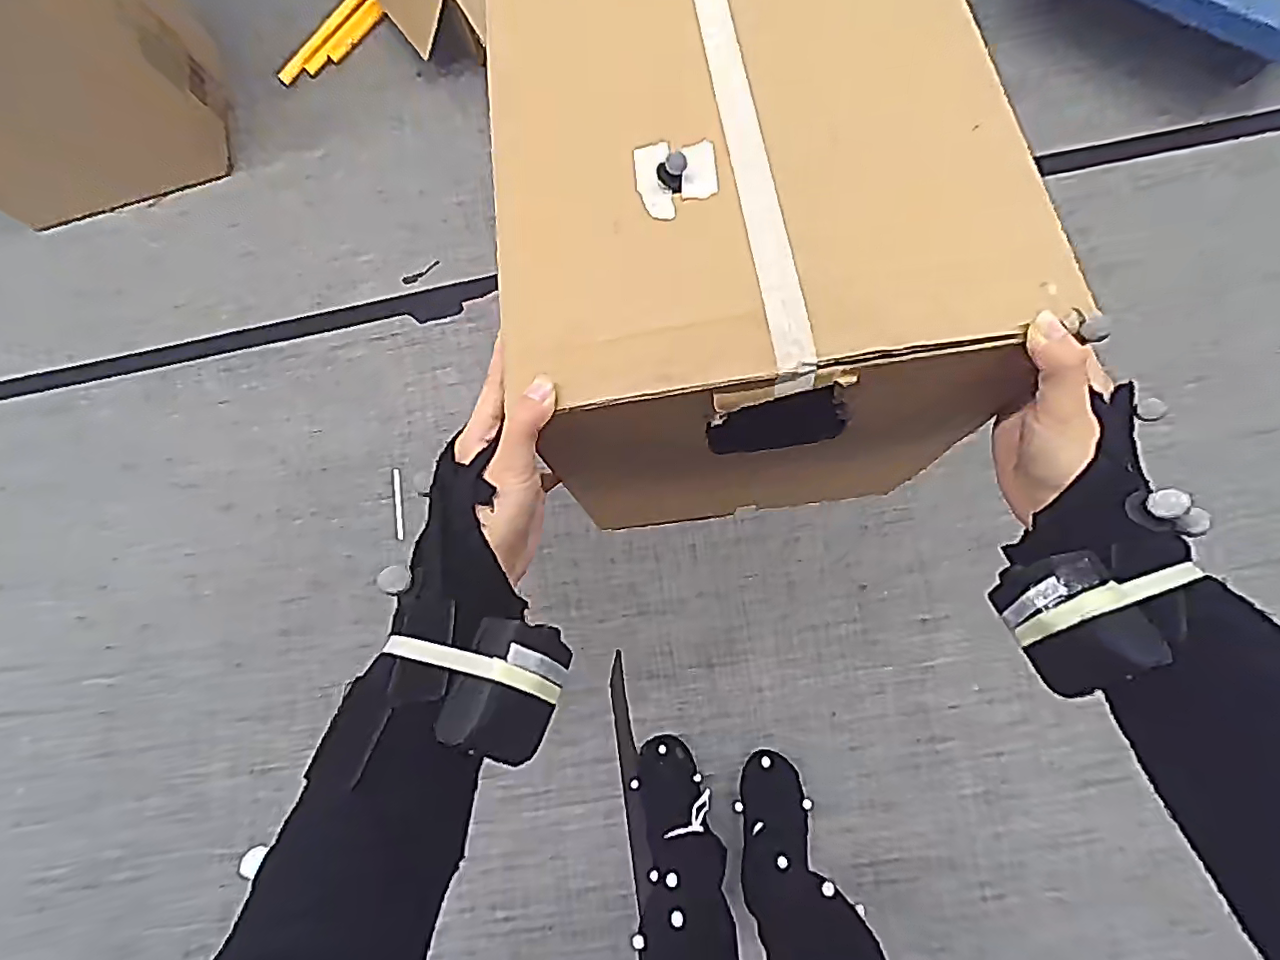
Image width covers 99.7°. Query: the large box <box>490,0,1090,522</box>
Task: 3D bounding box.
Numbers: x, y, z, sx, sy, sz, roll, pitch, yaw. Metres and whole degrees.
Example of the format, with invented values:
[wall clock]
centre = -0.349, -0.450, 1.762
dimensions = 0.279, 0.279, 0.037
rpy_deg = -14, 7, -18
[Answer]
[large box]
centre = 0.076, -0.205, 0.494
dimensions = 0.320, 0.320, 0.408
rpy_deg = -9, 73, 4
